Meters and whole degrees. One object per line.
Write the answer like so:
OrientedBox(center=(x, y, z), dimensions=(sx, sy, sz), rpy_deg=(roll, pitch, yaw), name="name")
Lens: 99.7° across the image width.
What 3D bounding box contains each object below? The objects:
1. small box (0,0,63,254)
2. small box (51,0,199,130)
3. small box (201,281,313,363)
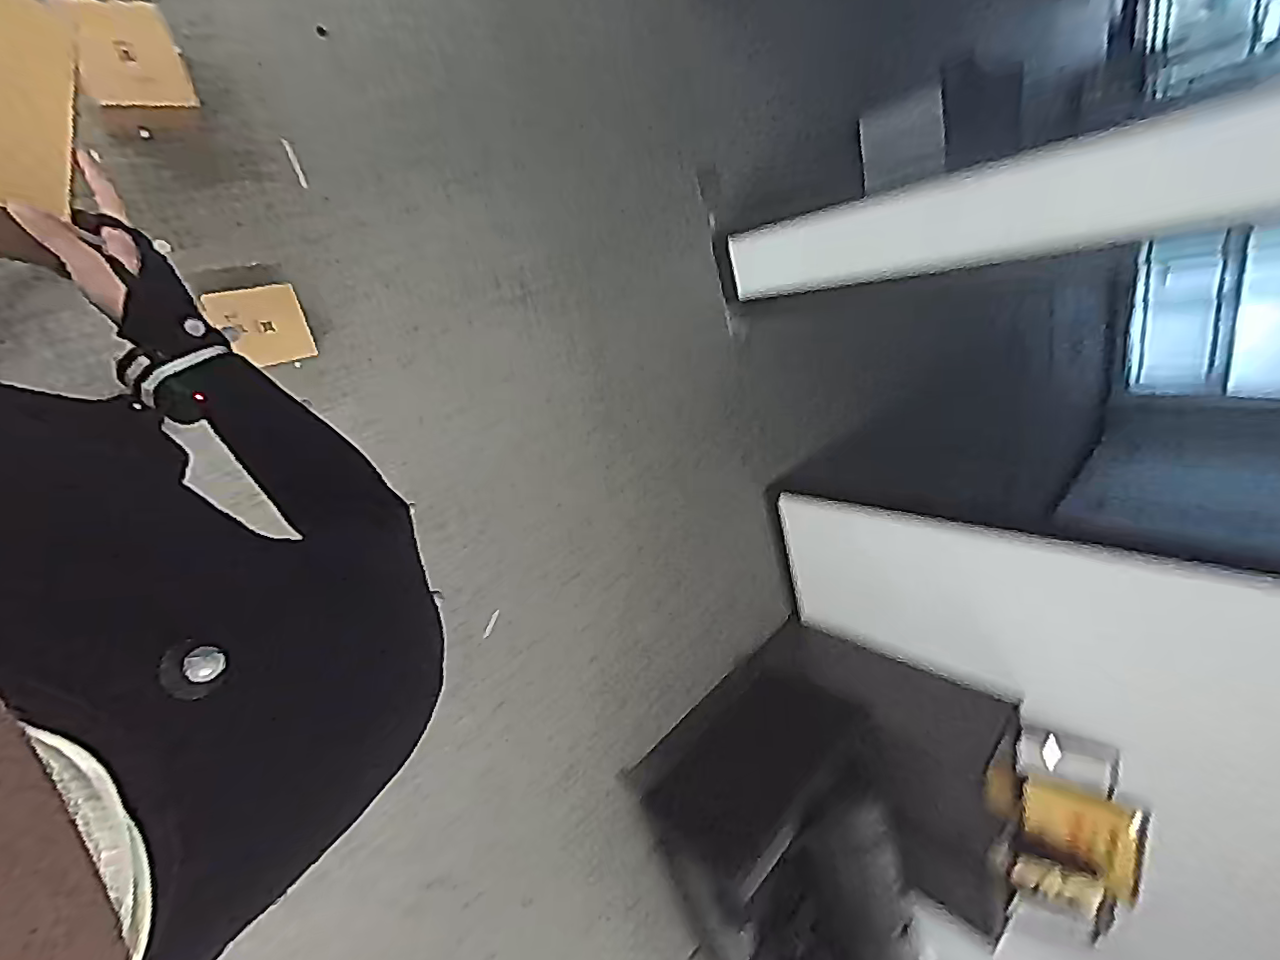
OrientedBox(center=(-0.592, -0.309, 0.438), dimensions=(0.168, 0.176, 0.179), rpy_deg=(-1, 94, -48), name="small box")
OrientedBox(center=(-1.014, -0.827, 1.074), dimensions=(0.168, 0.176, 0.179), rpy_deg=(-25, 114, -34), name="small box")
OrientedBox(center=(-0.893, -0.366, 1.259), dimensions=(0.179, 0.176, 0.168), rpy_deg=(-18, 107, -36), name="small box")
